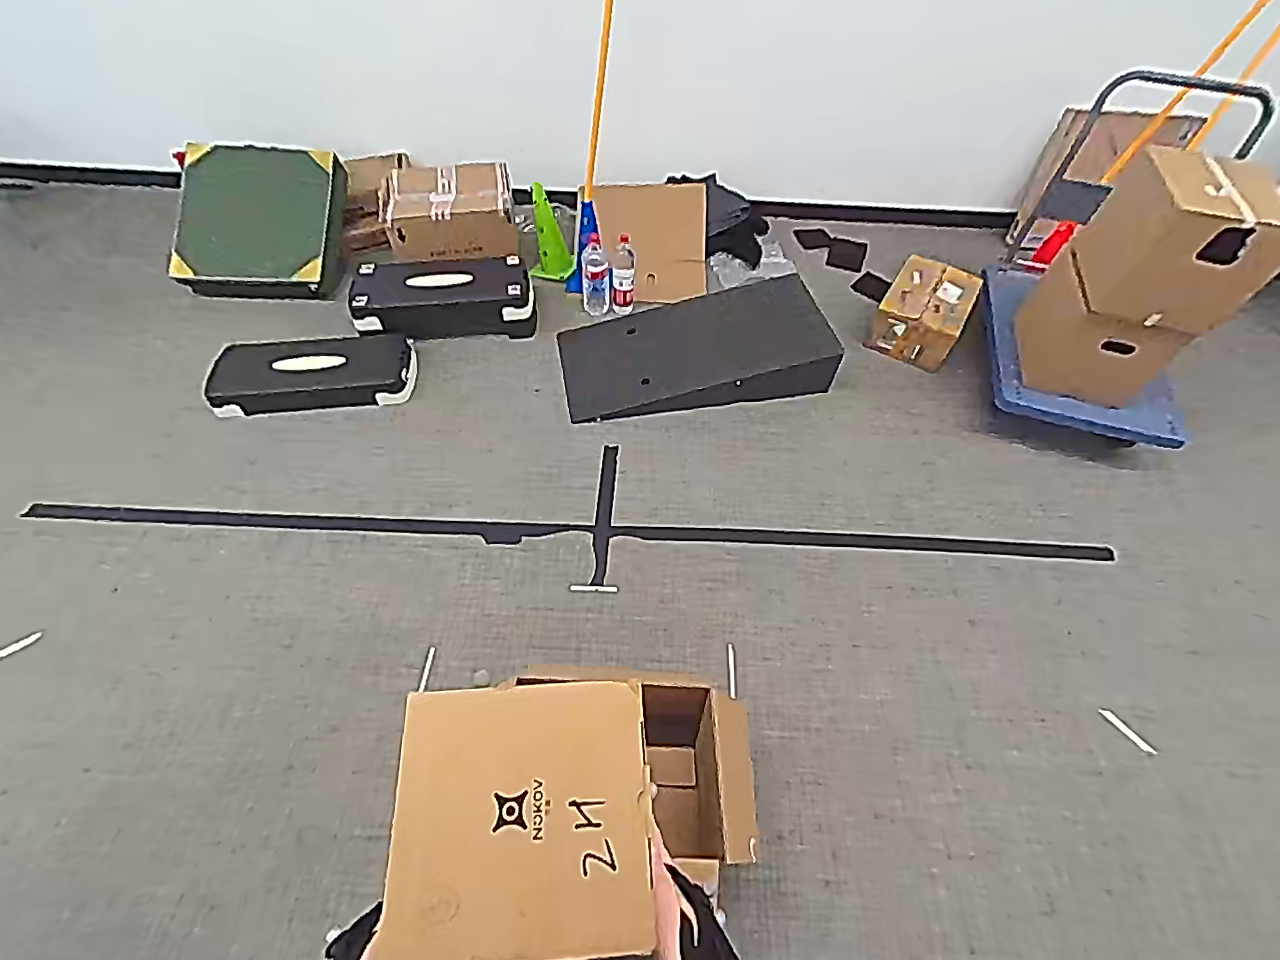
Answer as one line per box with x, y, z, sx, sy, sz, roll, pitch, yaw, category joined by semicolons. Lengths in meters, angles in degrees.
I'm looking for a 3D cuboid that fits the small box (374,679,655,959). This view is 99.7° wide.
-0.085;0.262;0.440;0.179;0.176;0.168;-1;64;-5;small box
